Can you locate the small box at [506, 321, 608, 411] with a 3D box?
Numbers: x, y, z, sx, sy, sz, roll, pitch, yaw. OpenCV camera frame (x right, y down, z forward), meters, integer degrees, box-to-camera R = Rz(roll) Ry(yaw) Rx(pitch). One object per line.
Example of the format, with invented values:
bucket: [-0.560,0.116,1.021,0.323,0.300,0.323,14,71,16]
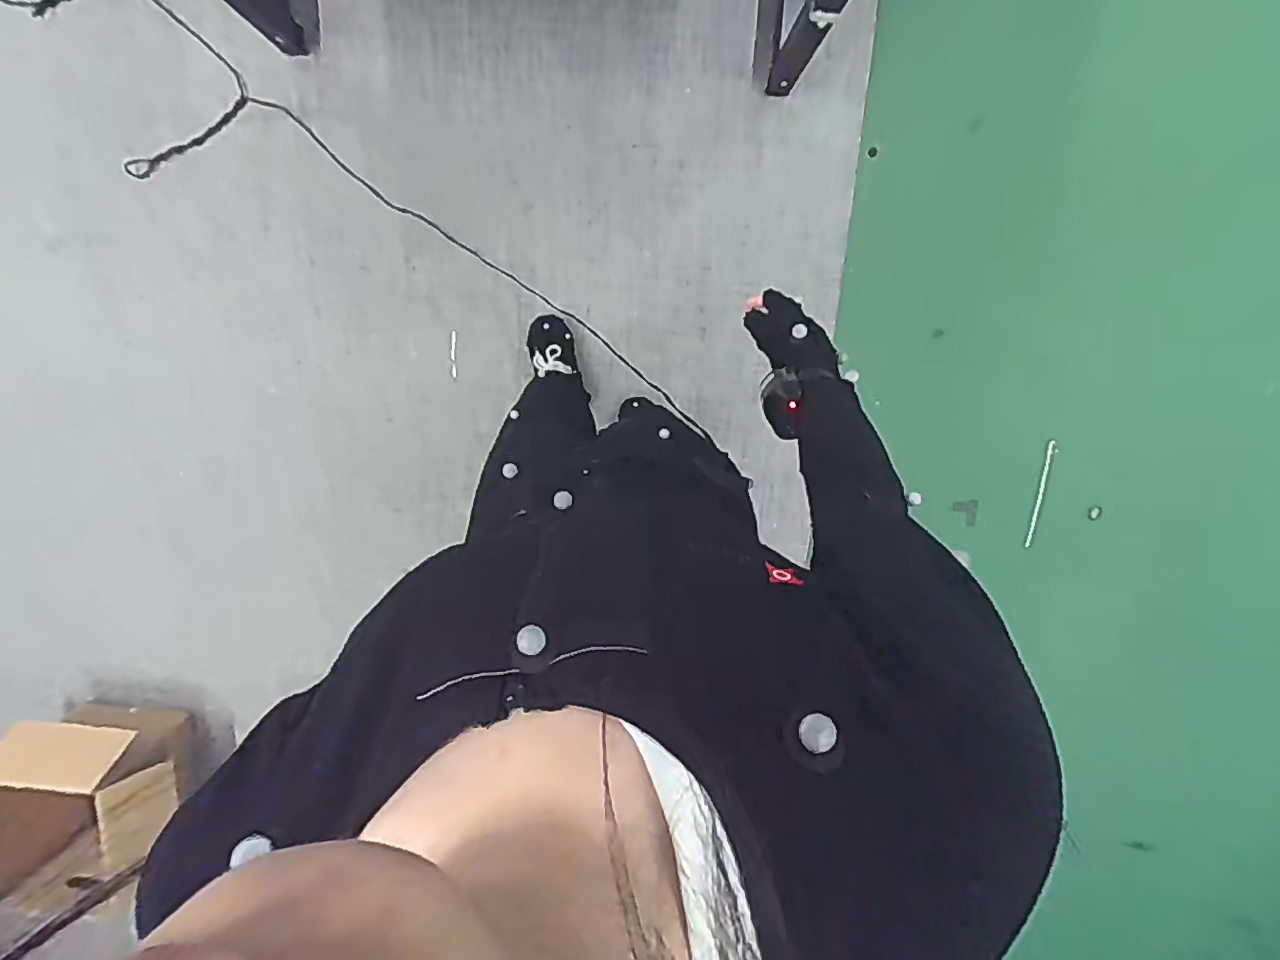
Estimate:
small box: [-0.211,-0.284,1.349,0.179,0.176,0.168,30,110,11]
